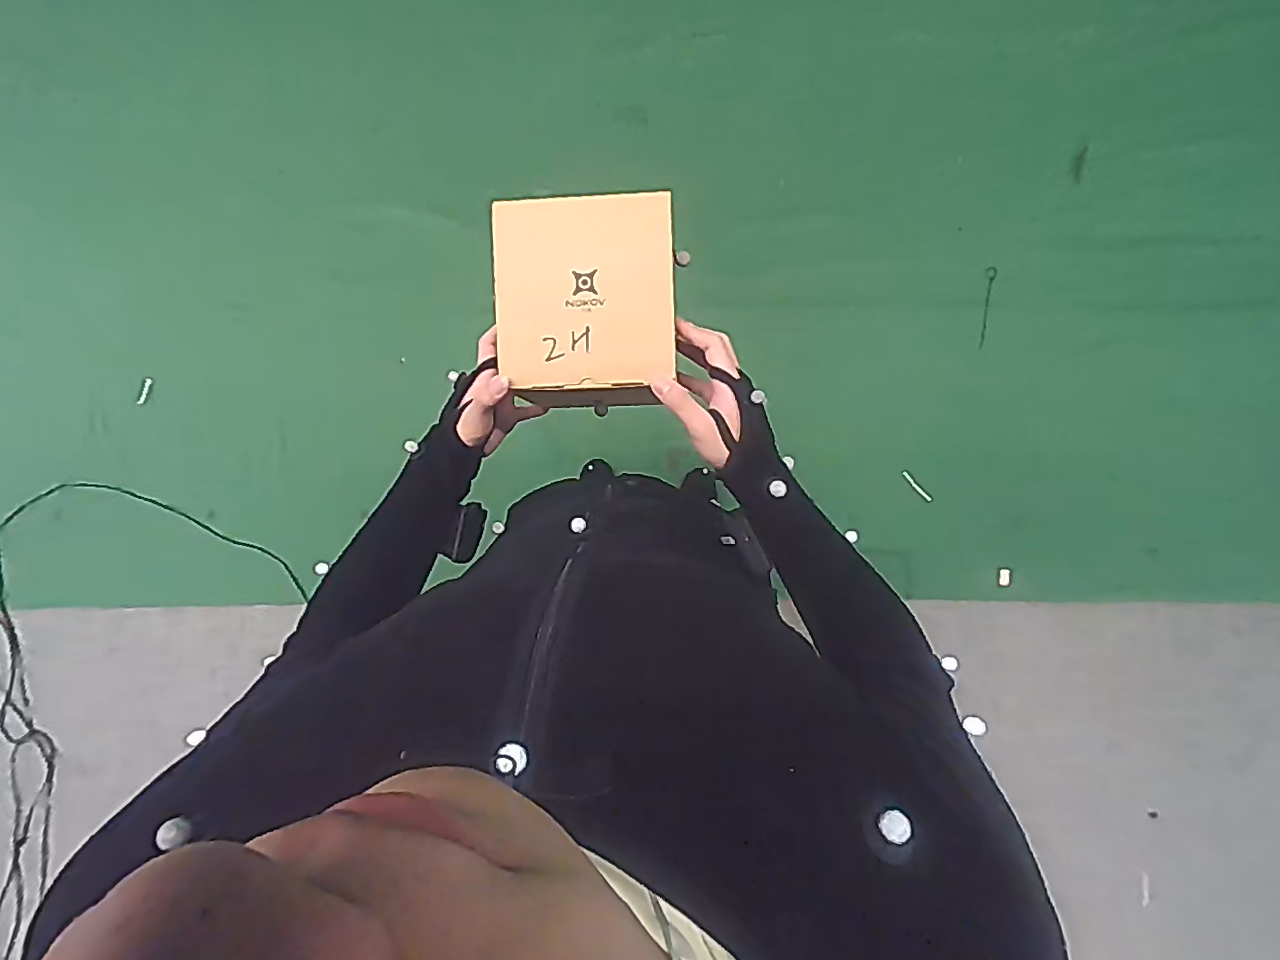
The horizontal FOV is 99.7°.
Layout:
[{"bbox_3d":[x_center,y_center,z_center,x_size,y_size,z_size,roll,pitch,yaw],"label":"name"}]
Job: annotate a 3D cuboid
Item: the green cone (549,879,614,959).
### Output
[{"bbox_3d":[-0.188,1.329,1.489,0.202,0.368,0.200,0,92,3],"label":"green cone"}]
